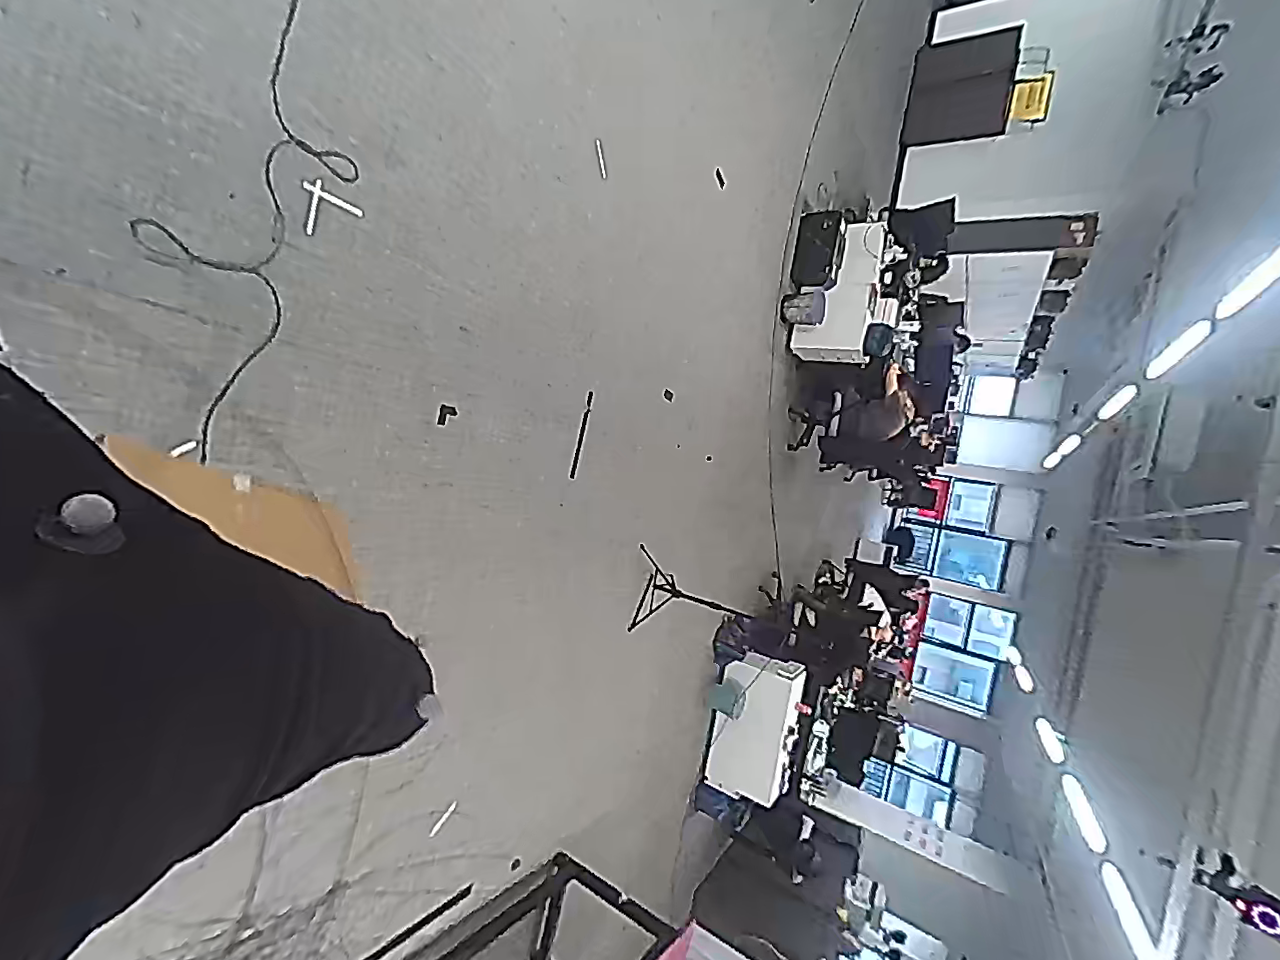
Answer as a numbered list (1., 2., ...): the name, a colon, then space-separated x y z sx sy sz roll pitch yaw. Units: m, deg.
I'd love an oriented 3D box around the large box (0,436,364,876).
1. large box: -0.647 0.225 0.707 0.408 0.320 0.320 -48 143 7
